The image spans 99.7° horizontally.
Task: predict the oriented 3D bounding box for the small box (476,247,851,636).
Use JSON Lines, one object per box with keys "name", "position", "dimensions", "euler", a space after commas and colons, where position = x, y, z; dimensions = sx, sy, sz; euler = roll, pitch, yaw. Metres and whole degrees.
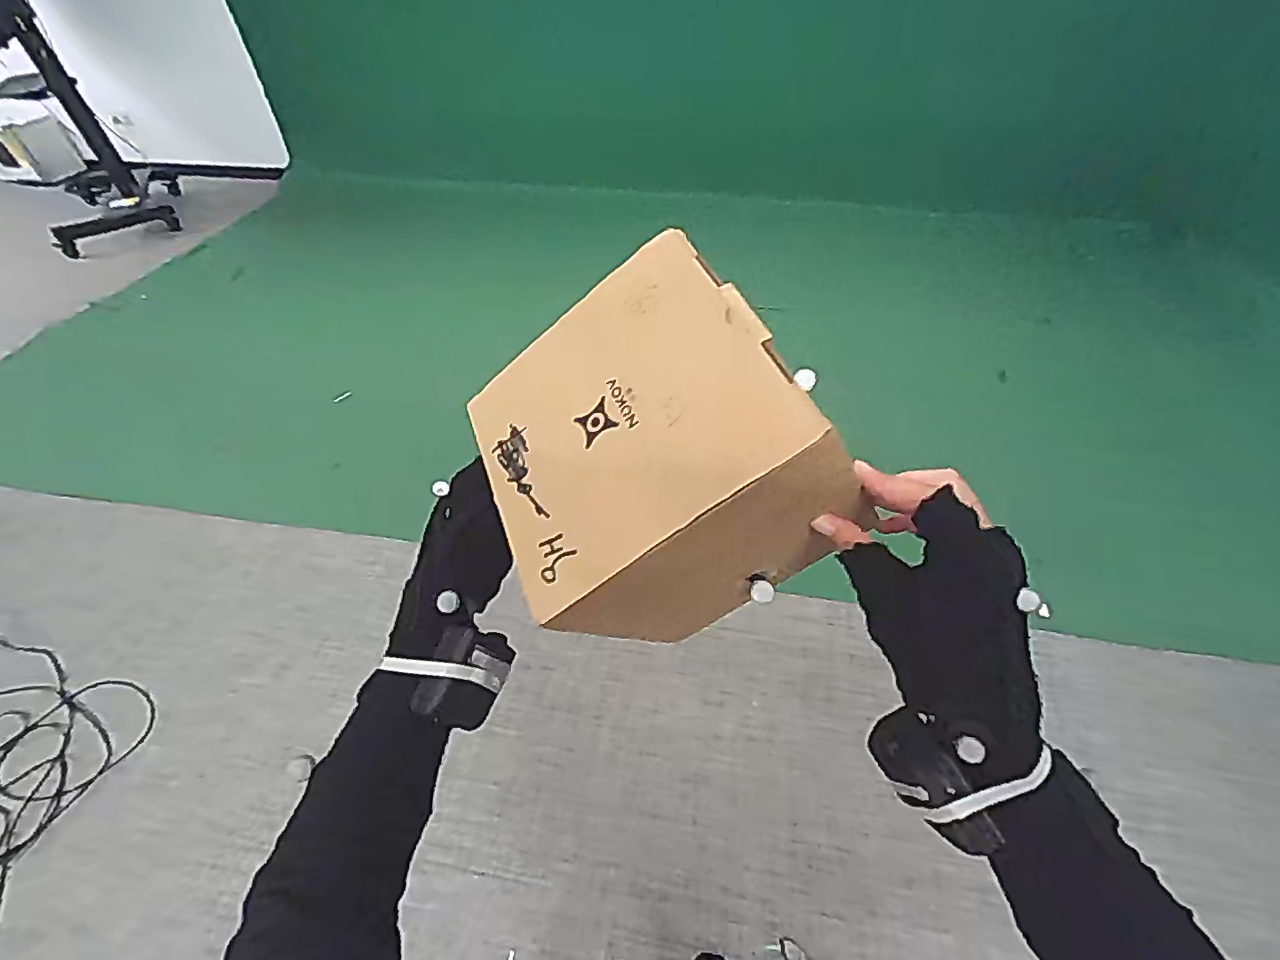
{"name": "small box", "position": [0.024, -0.008, 0.373], "dimensions": [0.179, 0.176, 0.168], "euler": [-35, 58, 16]}
